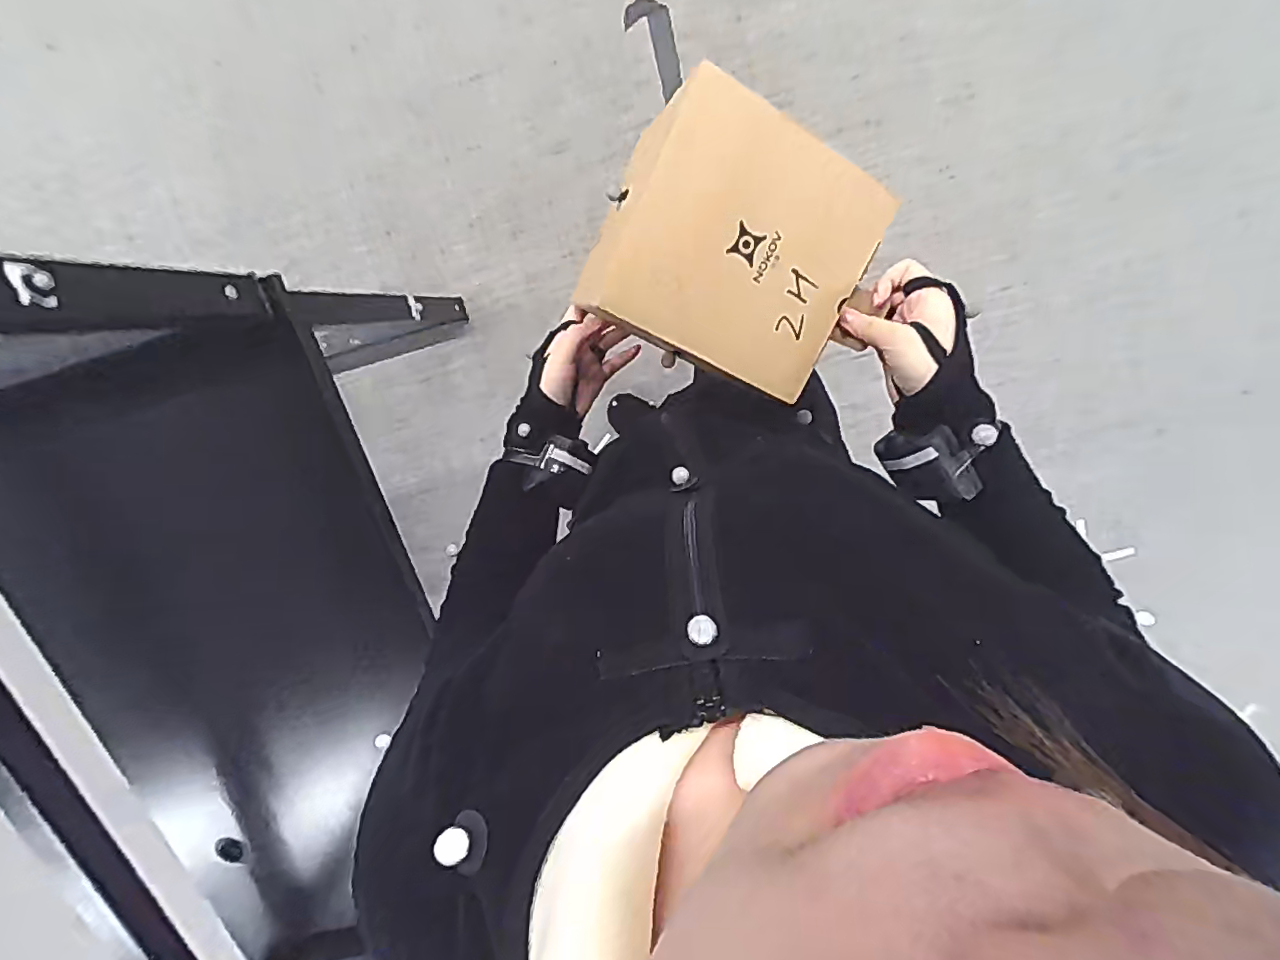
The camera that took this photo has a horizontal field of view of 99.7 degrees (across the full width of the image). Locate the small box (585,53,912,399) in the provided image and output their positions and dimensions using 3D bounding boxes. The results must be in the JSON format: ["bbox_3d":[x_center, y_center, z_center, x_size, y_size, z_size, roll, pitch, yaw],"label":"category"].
[{"bbox_3d":[0.068,-0.186,0.447,0.179,0.176,0.168,22,103,-19],"label":"small box"}]
